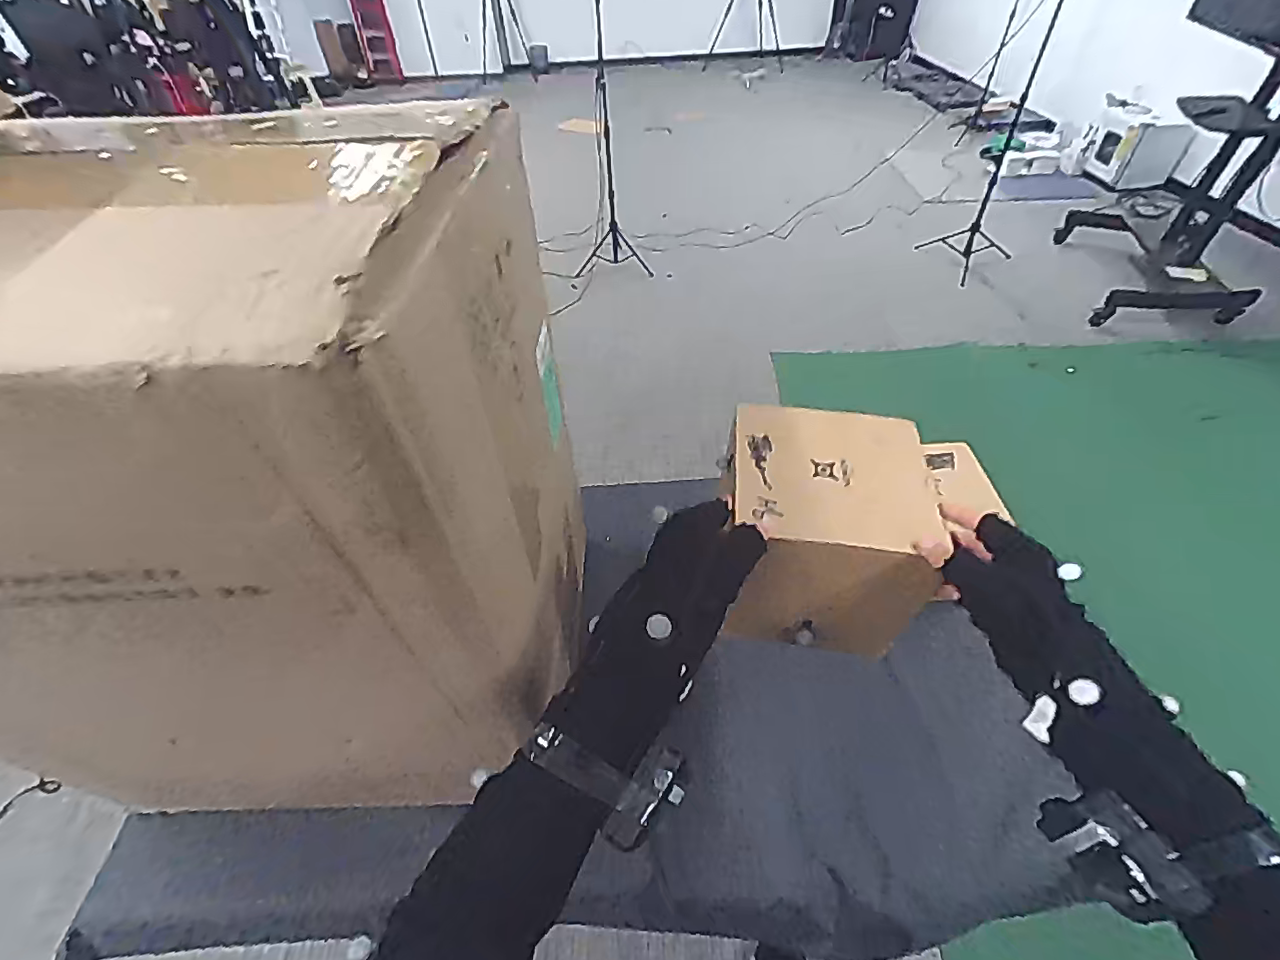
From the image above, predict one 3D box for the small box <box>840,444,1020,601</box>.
[{"bbox_3d":[0.421,0.064,0.824,0.168,0.176,0.179,-2,47,3],"label":"small box"}]
